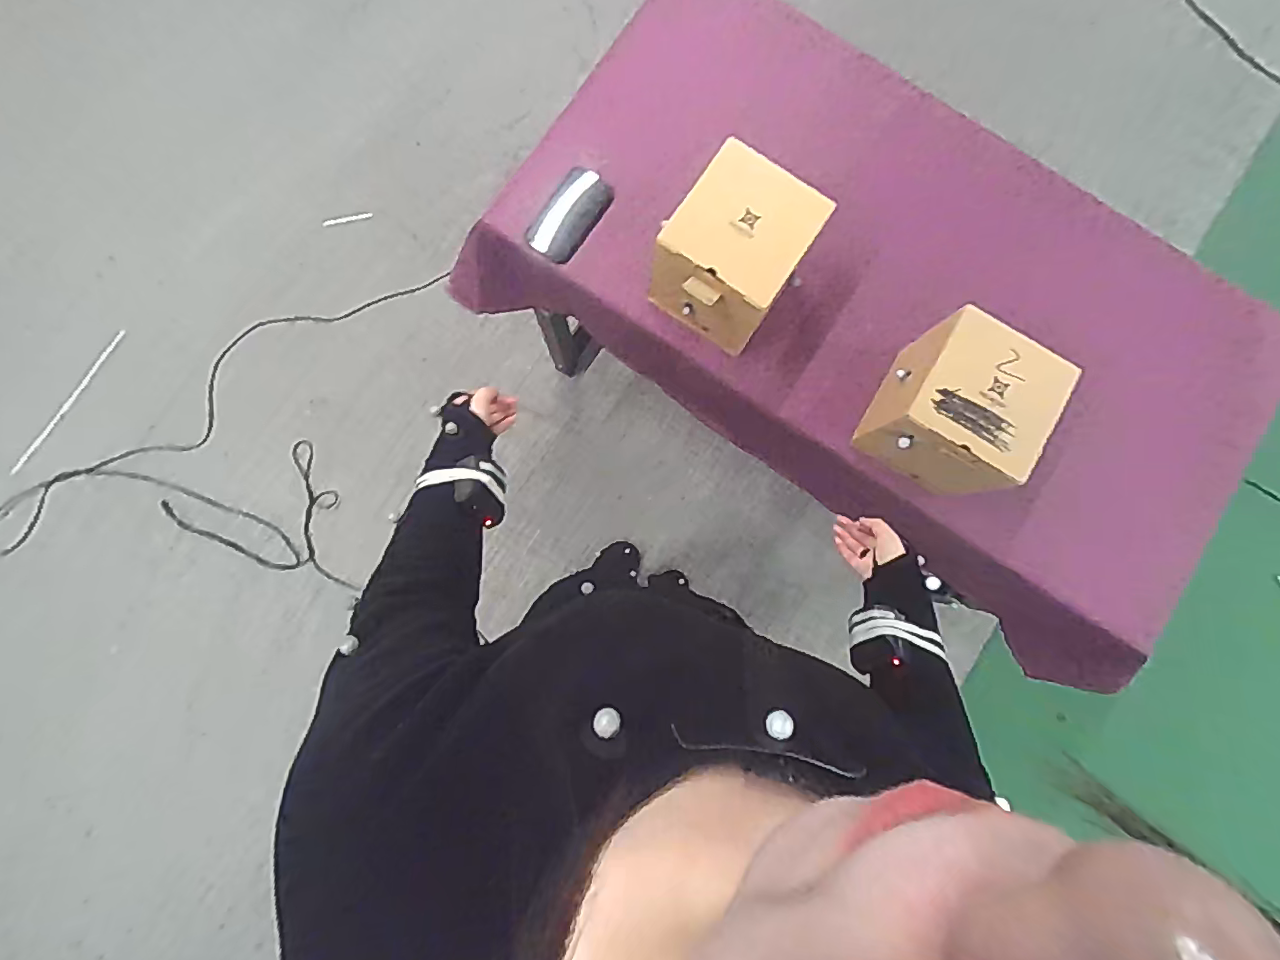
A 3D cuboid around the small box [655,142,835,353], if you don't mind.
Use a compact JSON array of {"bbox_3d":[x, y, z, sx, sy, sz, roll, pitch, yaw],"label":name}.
[{"bbox_3d":[0.133,-0.313,0.763,0.168,0.176,0.179,35,84,1],"label":"small box"}]
